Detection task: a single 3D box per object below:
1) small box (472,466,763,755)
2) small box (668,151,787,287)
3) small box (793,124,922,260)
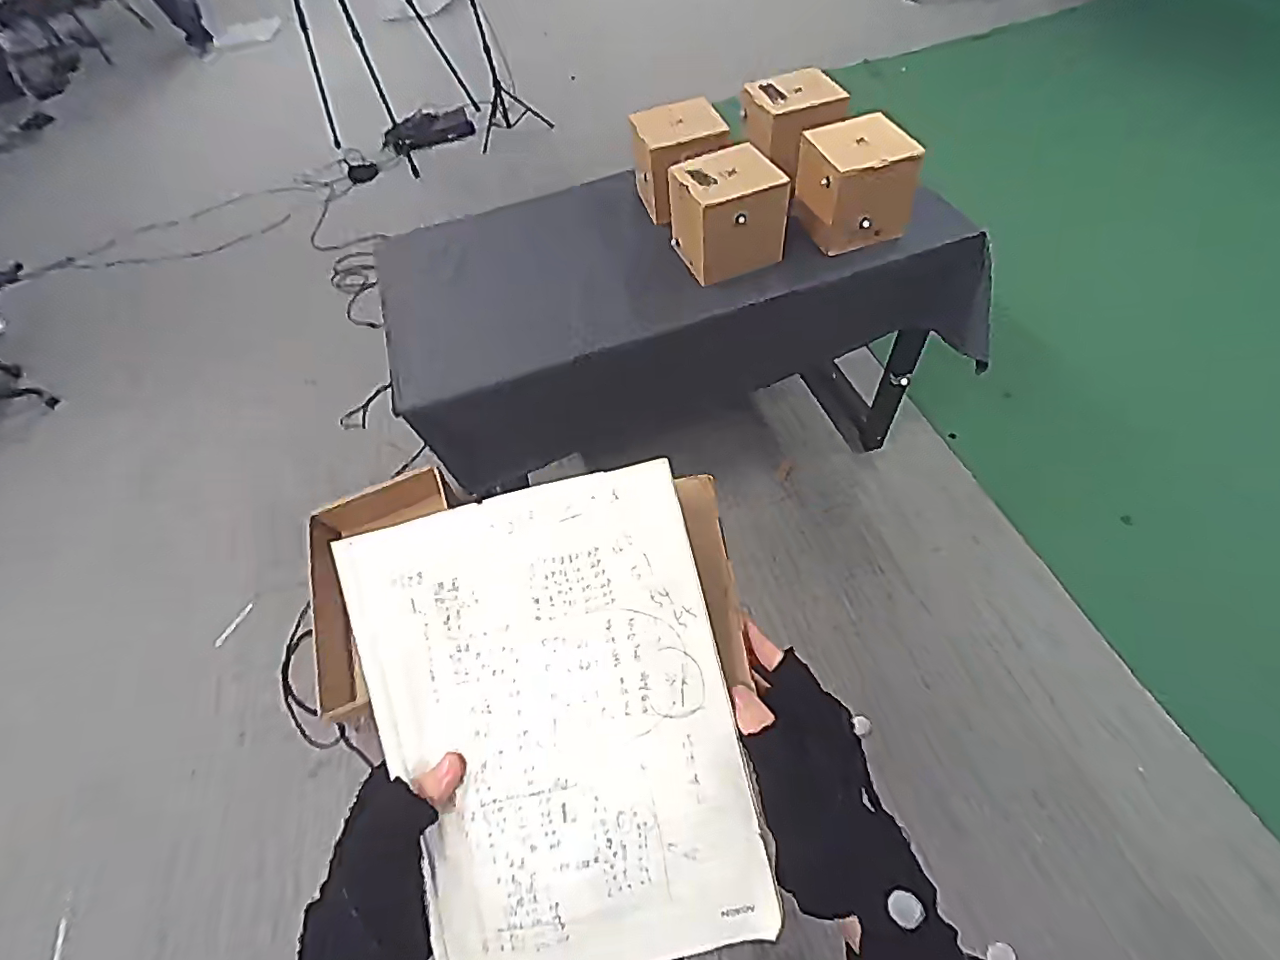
[{"bbox_3d":[-0.013,0.104,0.417,0.179,0.176,0.168,-8,71,3],"label":"small box"},{"bbox_3d":[0.169,-0.513,1.074,0.179,0.176,0.168,-20,56,-7],"label":"small box"},{"bbox_3d":[0.423,-0.577,1.089,0.168,0.176,0.179,-16,55,-3],"label":"small box"}]
